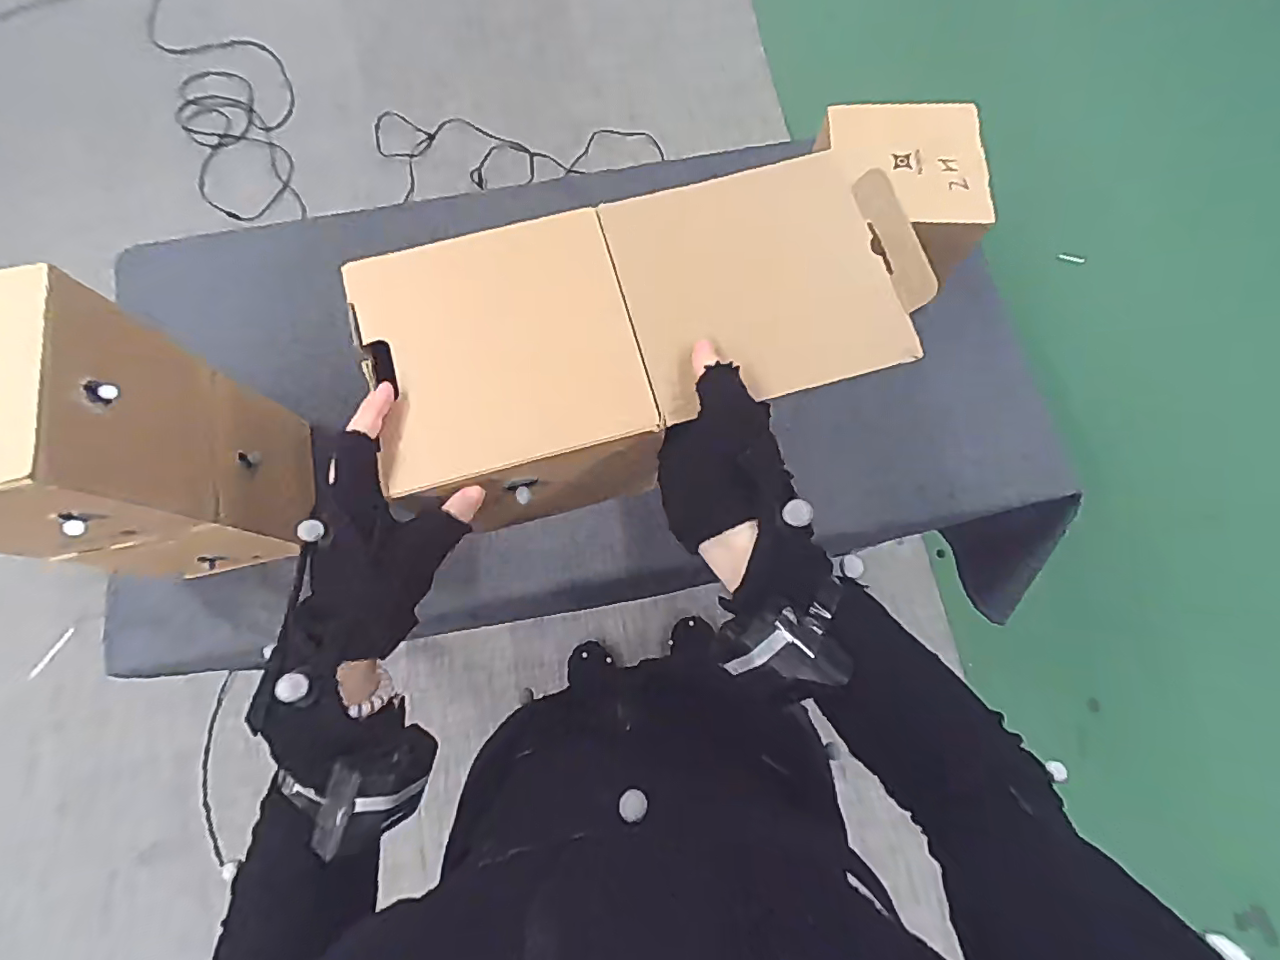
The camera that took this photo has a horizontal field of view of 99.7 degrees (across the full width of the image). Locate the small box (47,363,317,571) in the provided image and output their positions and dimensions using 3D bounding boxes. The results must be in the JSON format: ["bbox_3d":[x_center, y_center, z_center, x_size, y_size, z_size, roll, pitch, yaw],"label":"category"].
[{"bbox_3d":[-0.497,-0.005,0.613,0.168,0.176,0.179,-12,76,-3],"label":"small box"}]

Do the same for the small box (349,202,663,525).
[{"bbox_3d":[-0.087,-0.071,0.417,0.179,0.176,0.168,-14,78,-4],"label":"small box"}]

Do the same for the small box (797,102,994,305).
[{"bbox_3d":[0.304,-0.340,0.689,0.179,0.176,0.168,1,76,1],"label":"small box"}]

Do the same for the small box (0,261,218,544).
[{"bbox_3d":[-0.498,-0.048,0.456,0.168,0.176,0.179,-11,75,-3],"label":"small box"}]
